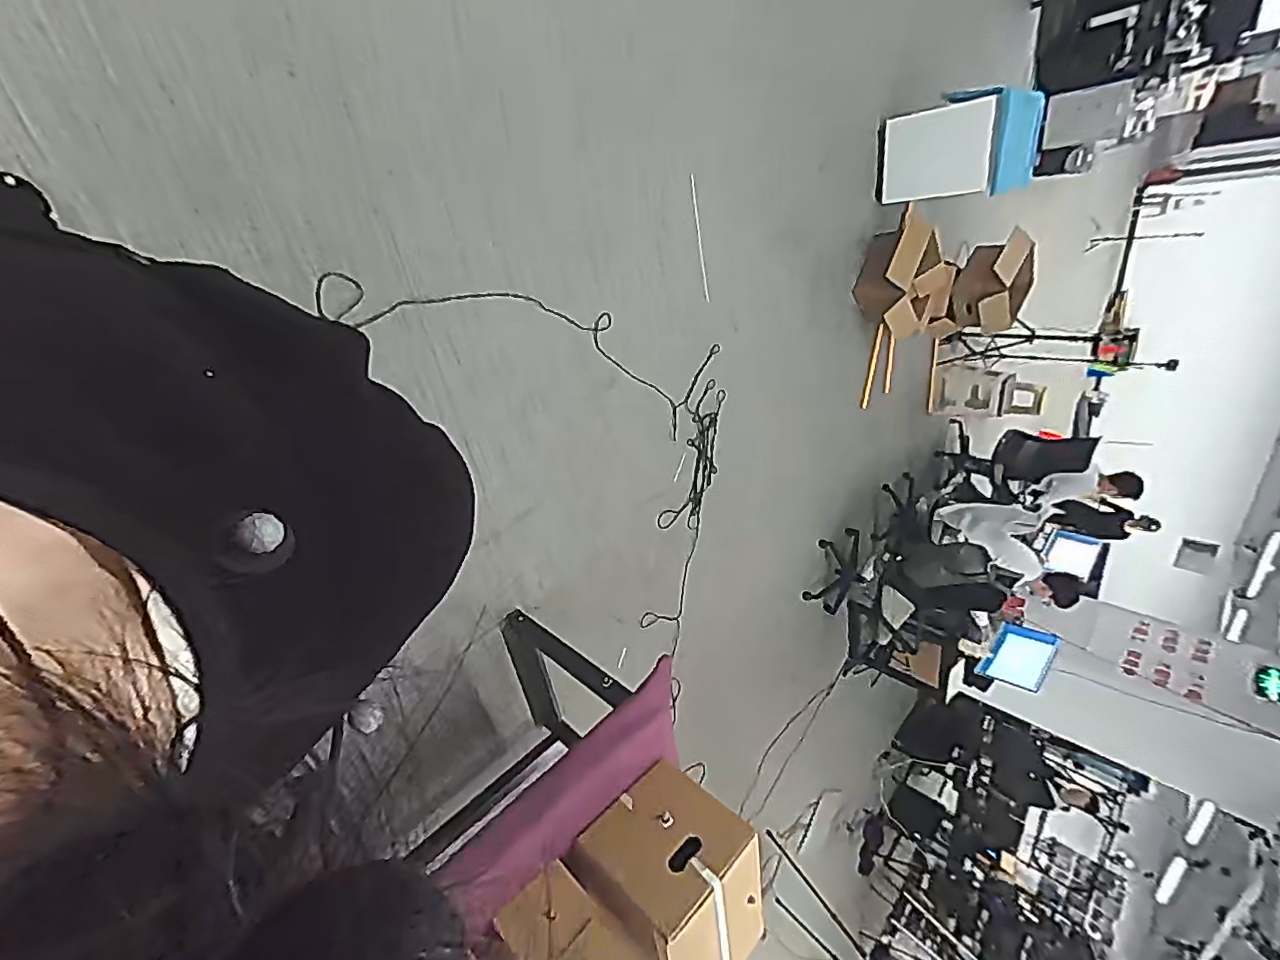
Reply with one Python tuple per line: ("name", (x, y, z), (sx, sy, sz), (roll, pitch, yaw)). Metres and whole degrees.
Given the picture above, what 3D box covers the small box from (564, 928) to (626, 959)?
("small box", (-0.078, 1.031, 1.043), (0.168, 0.176, 0.179), (-30, 122, -36))
